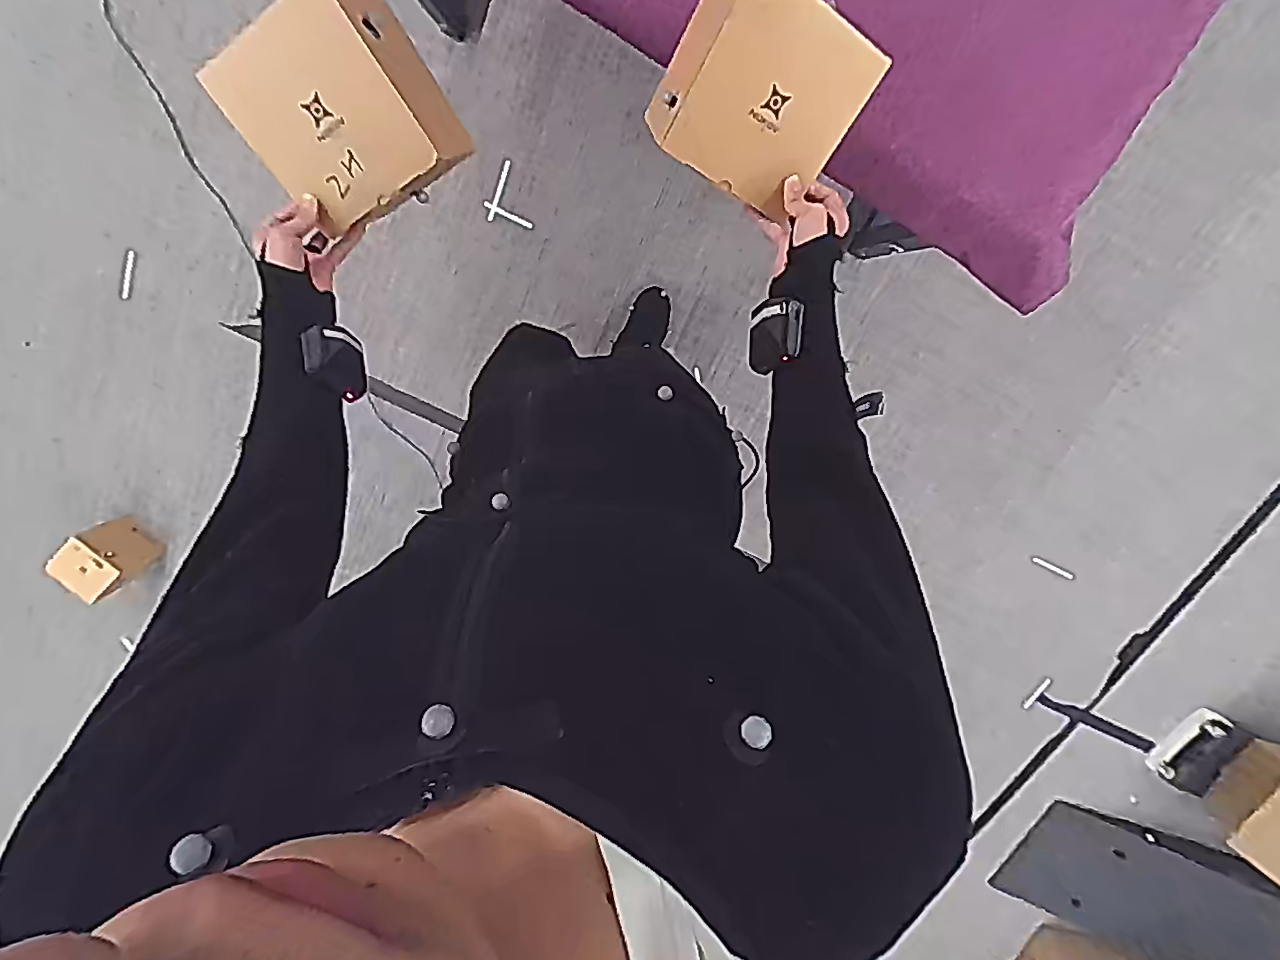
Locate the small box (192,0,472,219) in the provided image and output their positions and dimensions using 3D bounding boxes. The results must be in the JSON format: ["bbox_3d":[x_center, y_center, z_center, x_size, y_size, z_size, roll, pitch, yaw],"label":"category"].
[{"bbox_3d":[-0.318,-0.425,0.601,0.168,0.176,0.179,-24,122,15],"label":"small box"}]

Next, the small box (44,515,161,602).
[{"bbox_3d":[-1.683,0.242,1.704,0.179,0.176,0.168,-38,104,14],"label":"small box"}]

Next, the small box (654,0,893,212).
[{"bbox_3d":[0.126,-0.440,0.592,0.168,0.176,0.179,20,128,-23],"label":"small box"}]
